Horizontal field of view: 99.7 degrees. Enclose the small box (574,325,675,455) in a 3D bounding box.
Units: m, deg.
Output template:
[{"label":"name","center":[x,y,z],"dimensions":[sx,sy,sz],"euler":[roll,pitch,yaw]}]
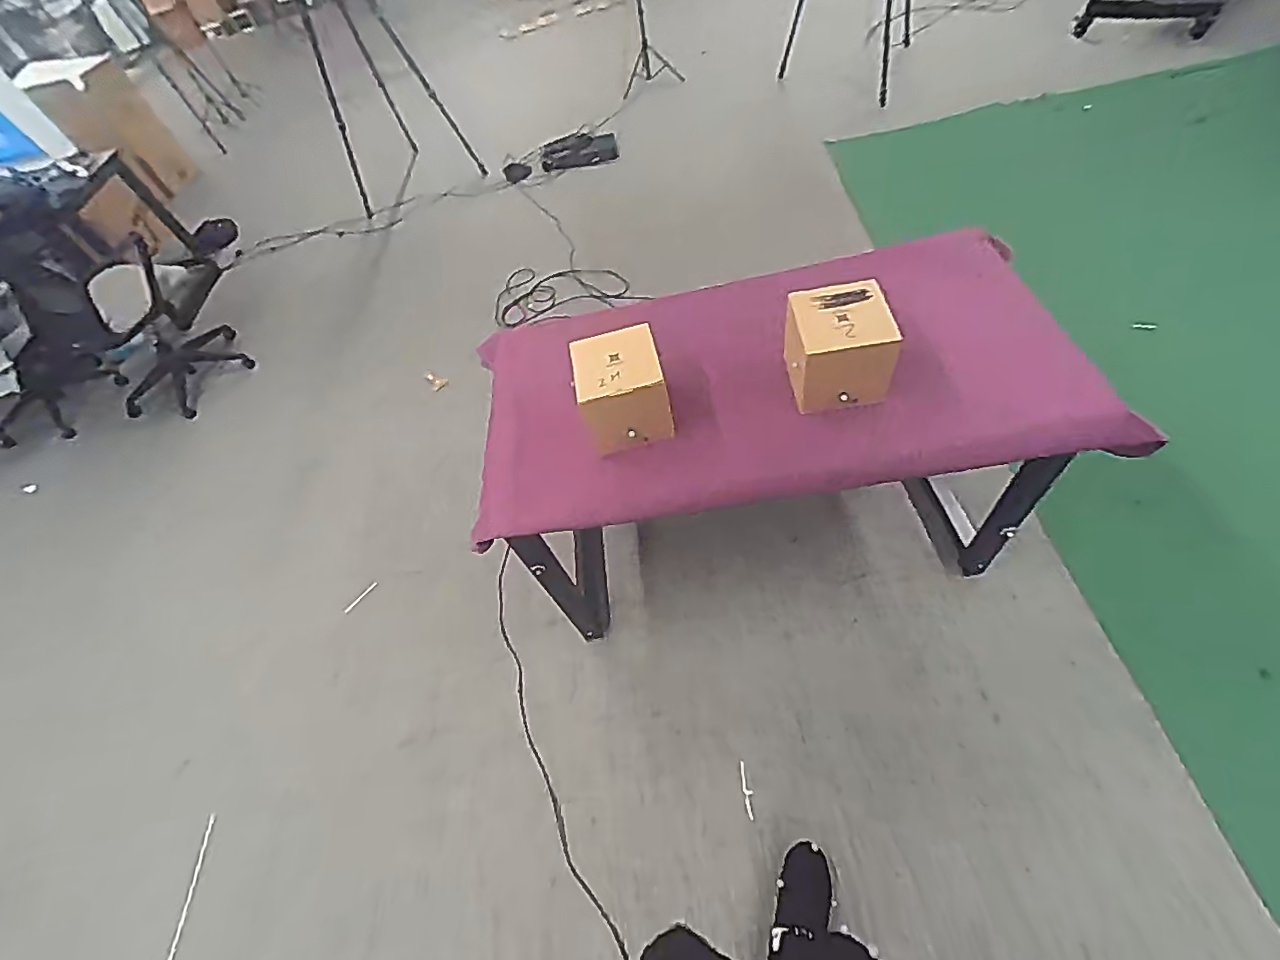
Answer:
[{"label":"small box","center":[-0.030,-0.178,1.092],"dimensions":[0.168,0.176,0.179],"euler":[-13,54,3]}]
